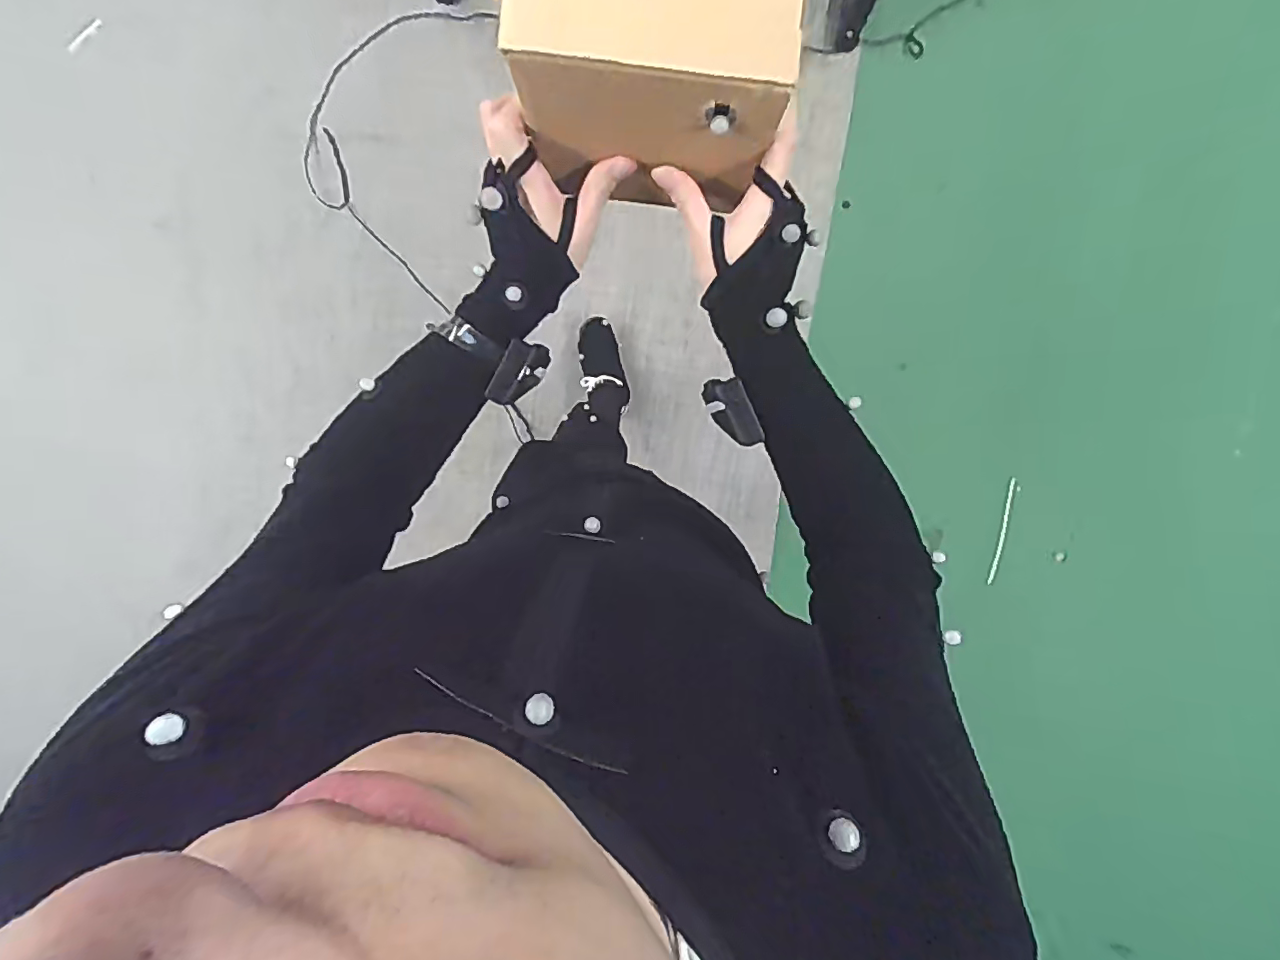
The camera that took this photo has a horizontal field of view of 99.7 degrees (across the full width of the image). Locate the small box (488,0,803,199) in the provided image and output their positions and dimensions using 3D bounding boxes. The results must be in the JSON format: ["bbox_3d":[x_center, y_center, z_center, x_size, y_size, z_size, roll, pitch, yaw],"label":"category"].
[{"bbox_3d":[0.009,-0.322,0.378,0.179,0.176,0.168,6,92,-1],"label":"small box"}]
